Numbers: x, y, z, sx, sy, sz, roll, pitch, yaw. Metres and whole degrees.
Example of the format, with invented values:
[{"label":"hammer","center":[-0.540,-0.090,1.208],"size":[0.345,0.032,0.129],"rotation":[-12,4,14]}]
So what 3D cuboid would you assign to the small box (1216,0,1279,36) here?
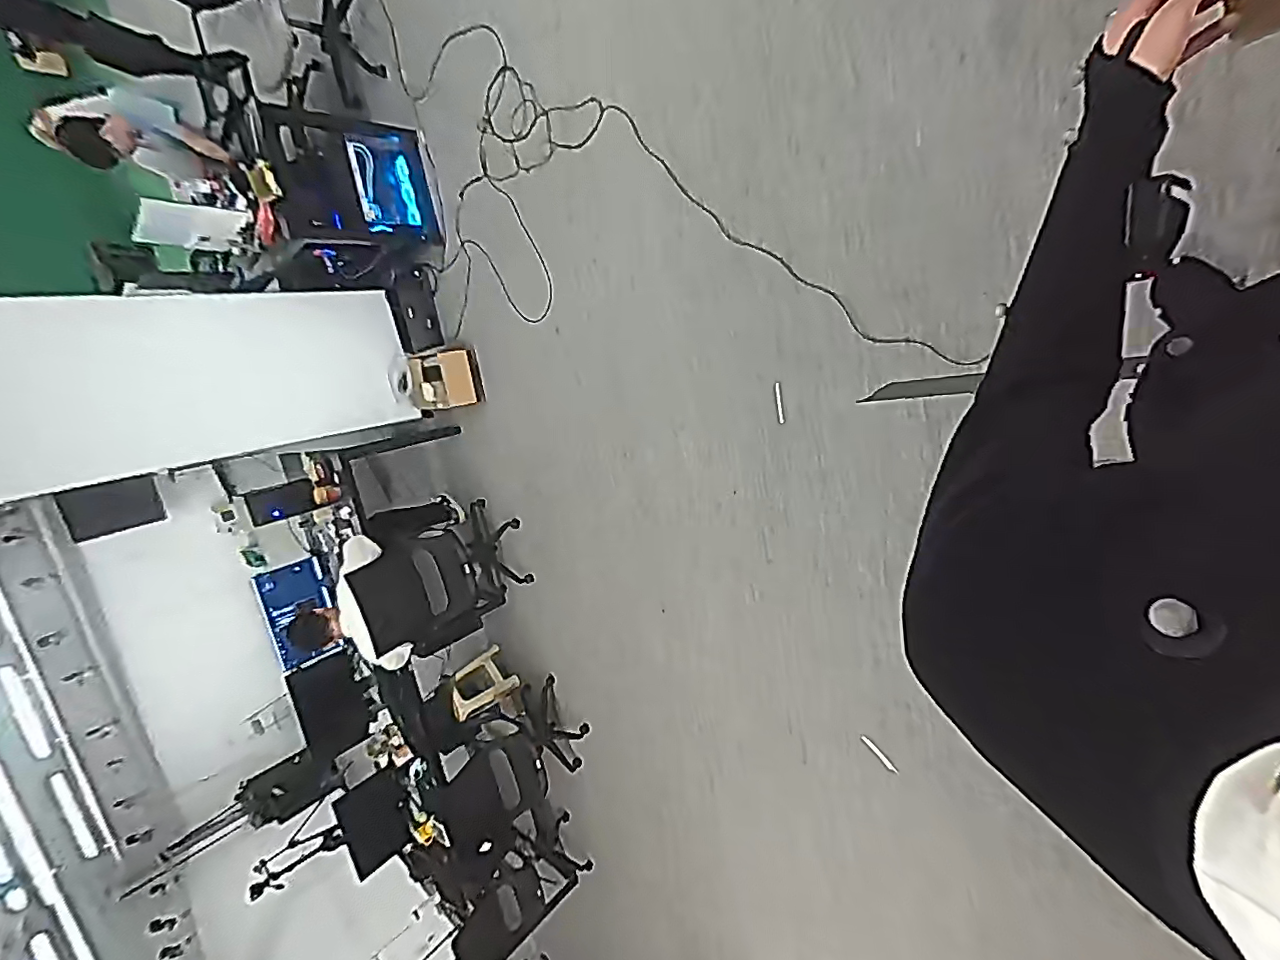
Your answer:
[{"label":"small box","center":[0.534,-0.477,0.390],"size":[0.168,0.176,0.179],"rotation":[-1,105,51]}]
